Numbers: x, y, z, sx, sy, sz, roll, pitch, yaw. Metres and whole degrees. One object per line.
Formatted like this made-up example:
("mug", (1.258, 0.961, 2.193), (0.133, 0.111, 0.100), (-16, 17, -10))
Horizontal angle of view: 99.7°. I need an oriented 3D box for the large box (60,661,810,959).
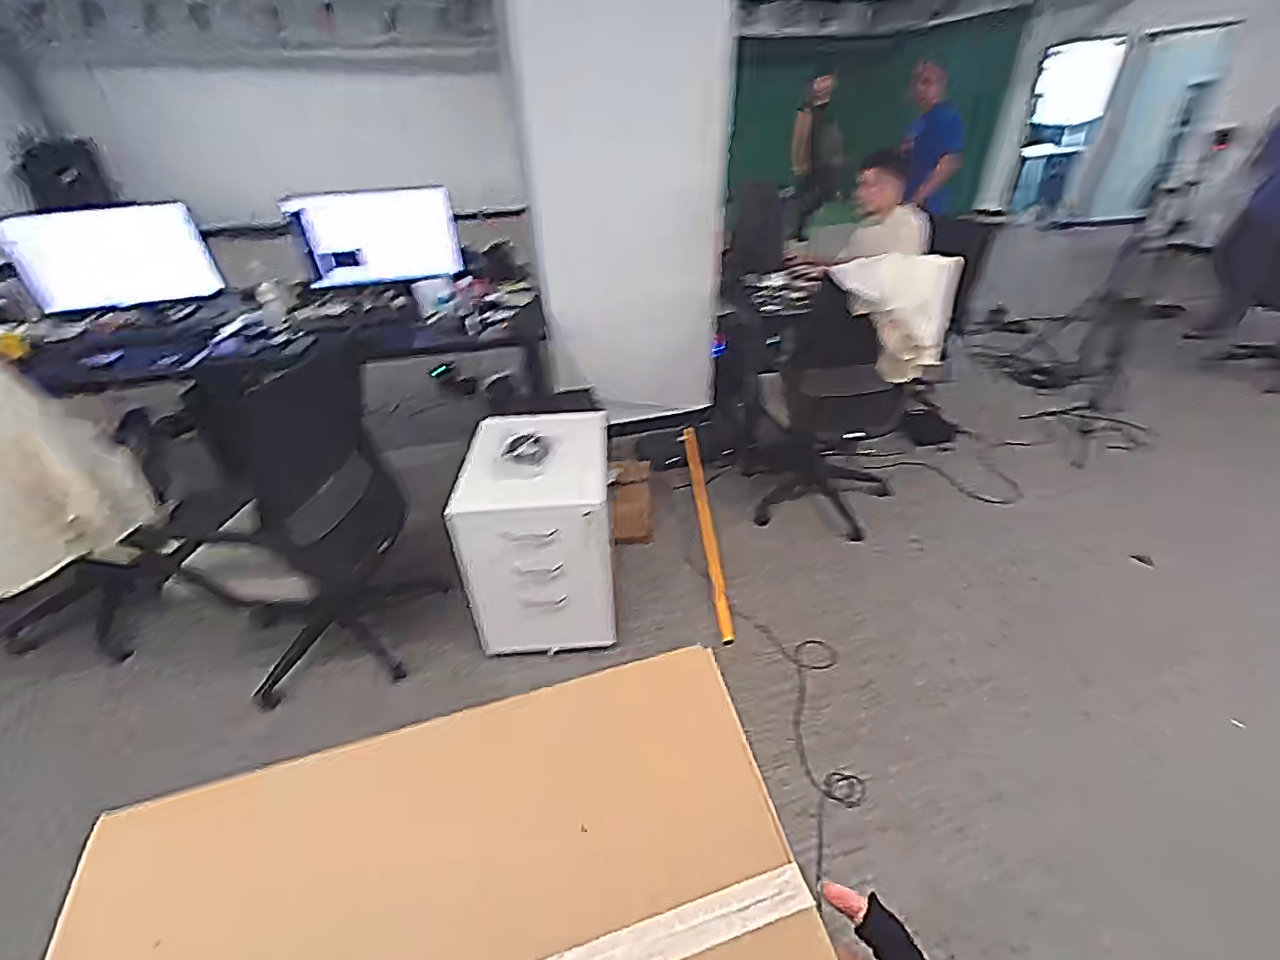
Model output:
("large box", (-0.102, 0.389, 0.387), (0.408, 0.320, 0.320), (-13, 47, -11))
